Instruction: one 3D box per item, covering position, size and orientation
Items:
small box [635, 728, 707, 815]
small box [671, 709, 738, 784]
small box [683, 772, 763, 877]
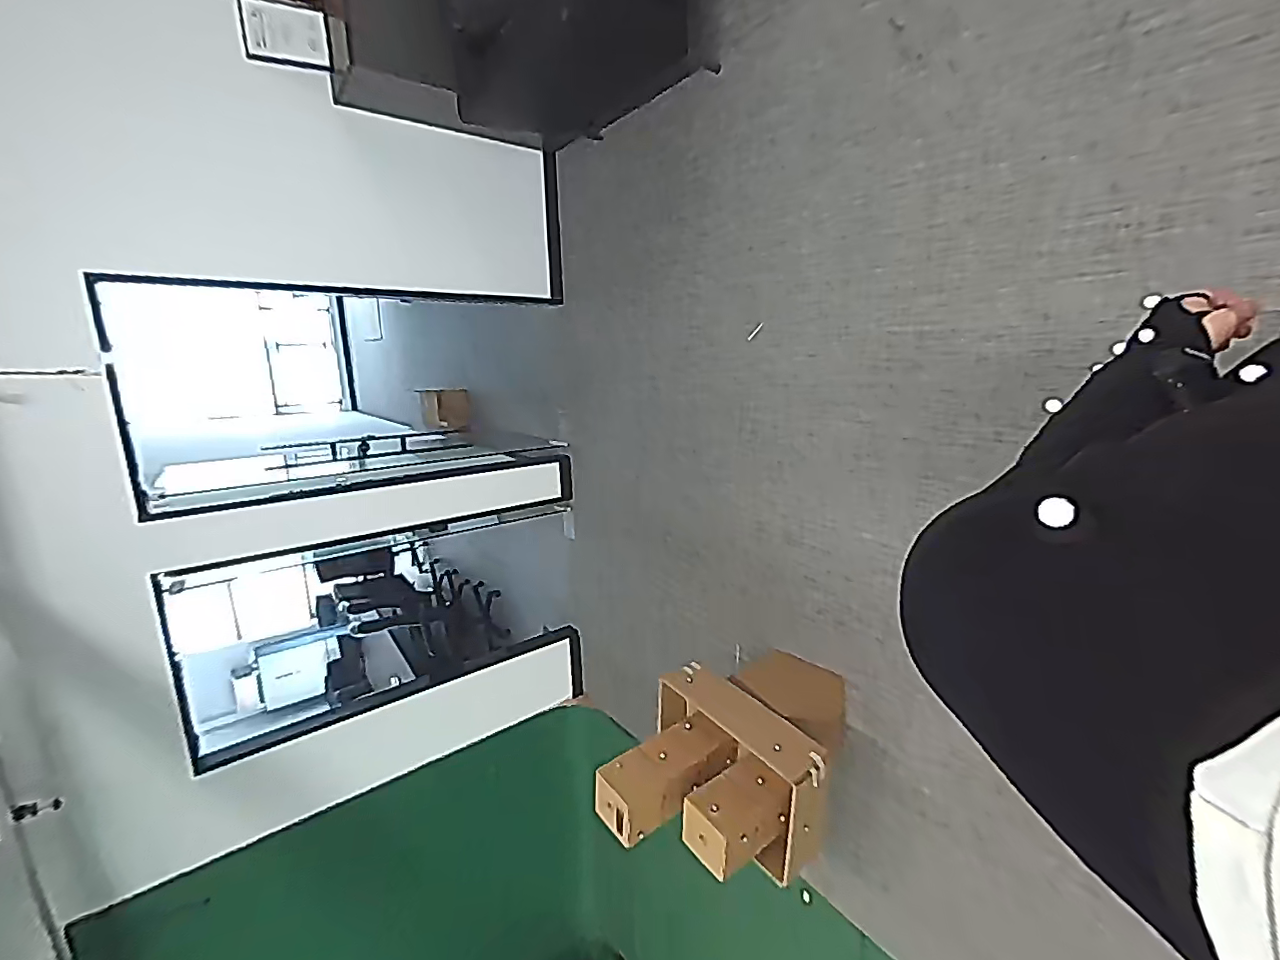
[{"bbox_3d":[0.103,0.974,1.830,0.179,0.176,0.168,17,111,48],"label":"small box"},{"bbox_3d":[0.227,0.949,1.929,0.179,0.176,0.168,19,114,49],"label":"small box"},{"bbox_3d":[0.252,1.031,1.639,0.179,0.176,0.168,20,114,50],"label":"small box"}]
